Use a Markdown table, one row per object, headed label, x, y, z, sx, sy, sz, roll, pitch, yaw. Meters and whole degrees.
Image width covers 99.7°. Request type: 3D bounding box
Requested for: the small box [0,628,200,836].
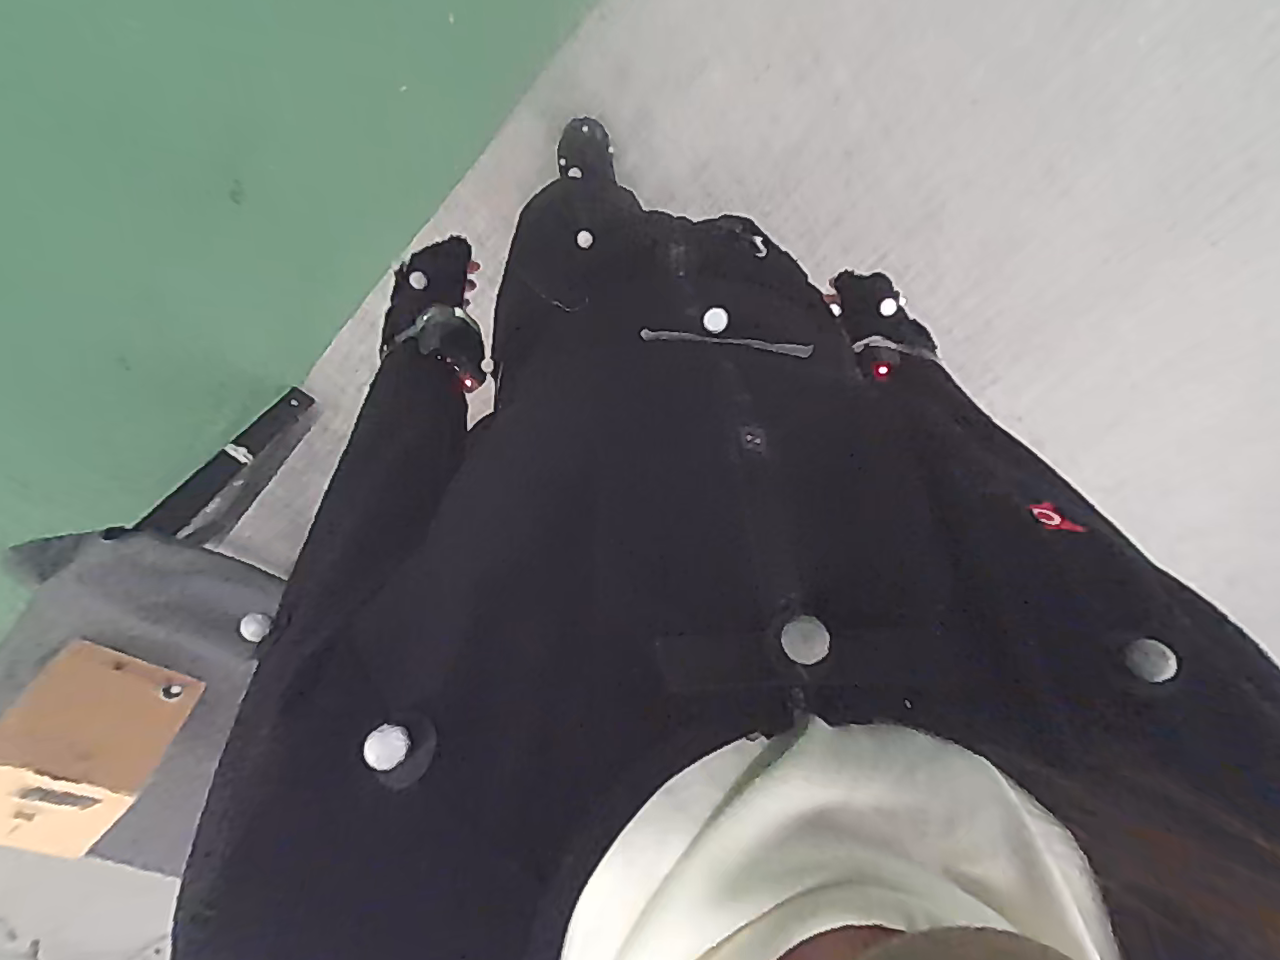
| label | x | y | z | sx | sy | sz | roll | pitch | yaw |
| --- | --- | --- | --- | --- | --- | --- | --- | --- | --- |
| small box | -0.739 | 0.329 | 0.717 | 0.179 | 0.176 | 0.168 | -41 | 120 | 18 |
